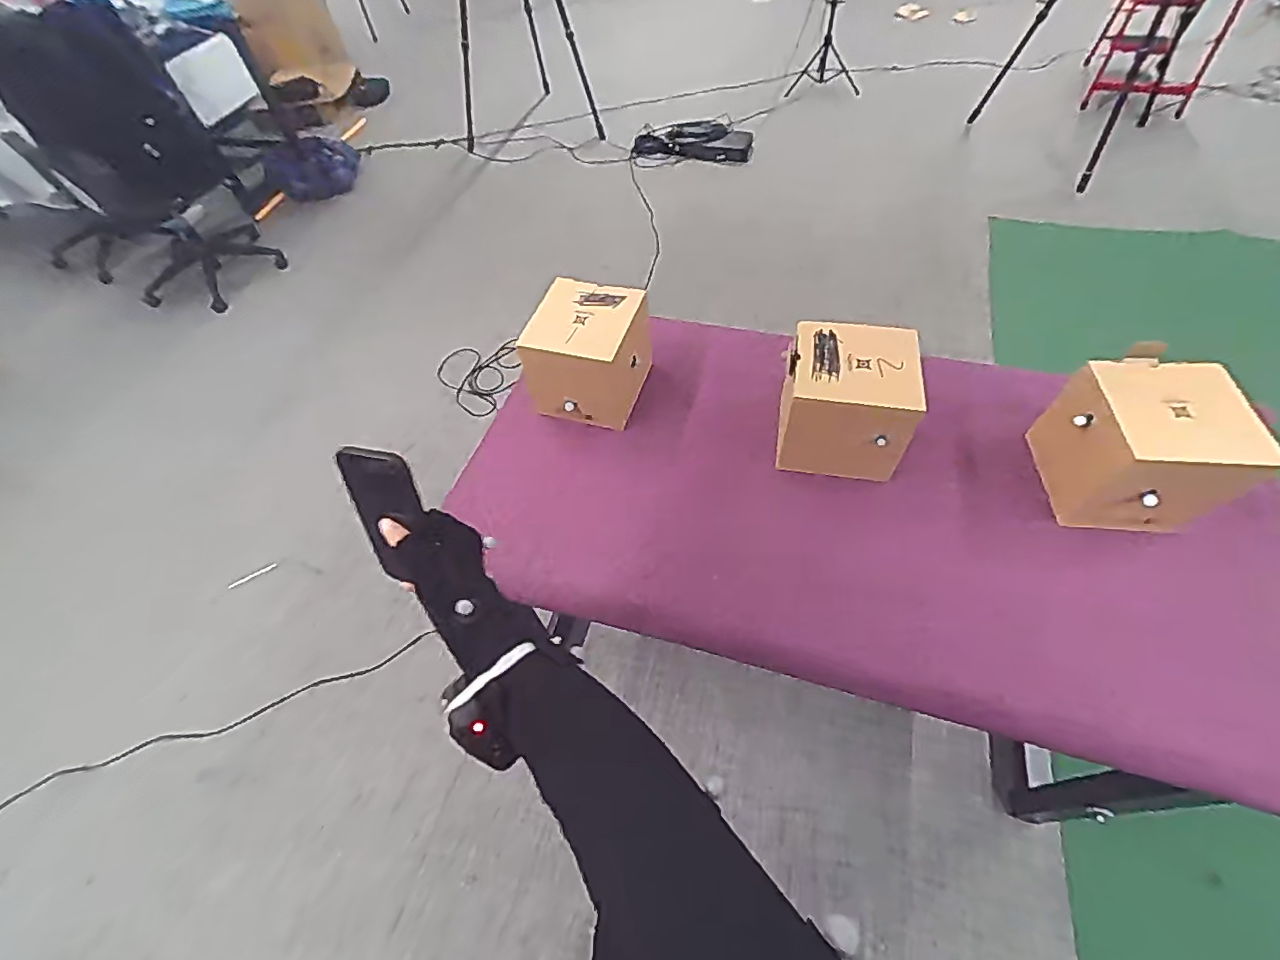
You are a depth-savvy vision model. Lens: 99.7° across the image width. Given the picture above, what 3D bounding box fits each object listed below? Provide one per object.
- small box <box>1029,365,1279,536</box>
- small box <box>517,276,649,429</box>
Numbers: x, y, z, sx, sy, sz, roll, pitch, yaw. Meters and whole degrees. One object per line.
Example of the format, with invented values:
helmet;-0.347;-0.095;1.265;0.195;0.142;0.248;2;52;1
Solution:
small box;0.687;-0.038;0.751;0.168;0.176;0.179;3;55;8
small box;-0.086;-0.218;0.934;0.168;0.176;0.179;13;59;13
